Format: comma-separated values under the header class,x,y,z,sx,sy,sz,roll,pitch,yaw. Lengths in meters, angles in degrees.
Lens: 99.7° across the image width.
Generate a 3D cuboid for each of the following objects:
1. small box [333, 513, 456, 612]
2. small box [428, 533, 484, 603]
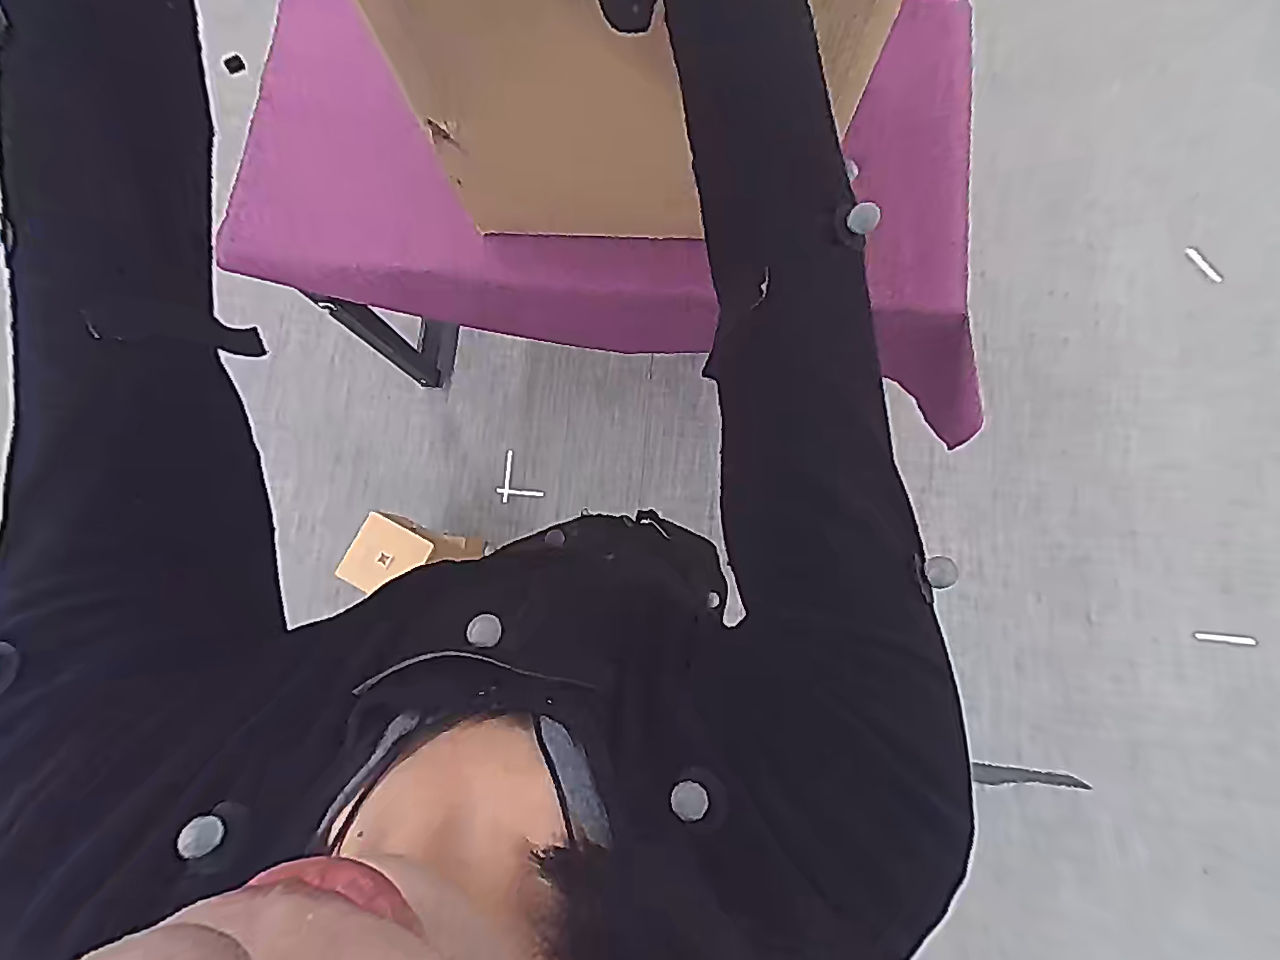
class,x,y,z,sx,sy,sz,roll,pitch,yaw
small box,-0.570,0.195,1.283,0.179,0.176,0.168,27,81,6
small box,-0.538,0.230,1.441,0.179,0.176,0.168,7,81,2
